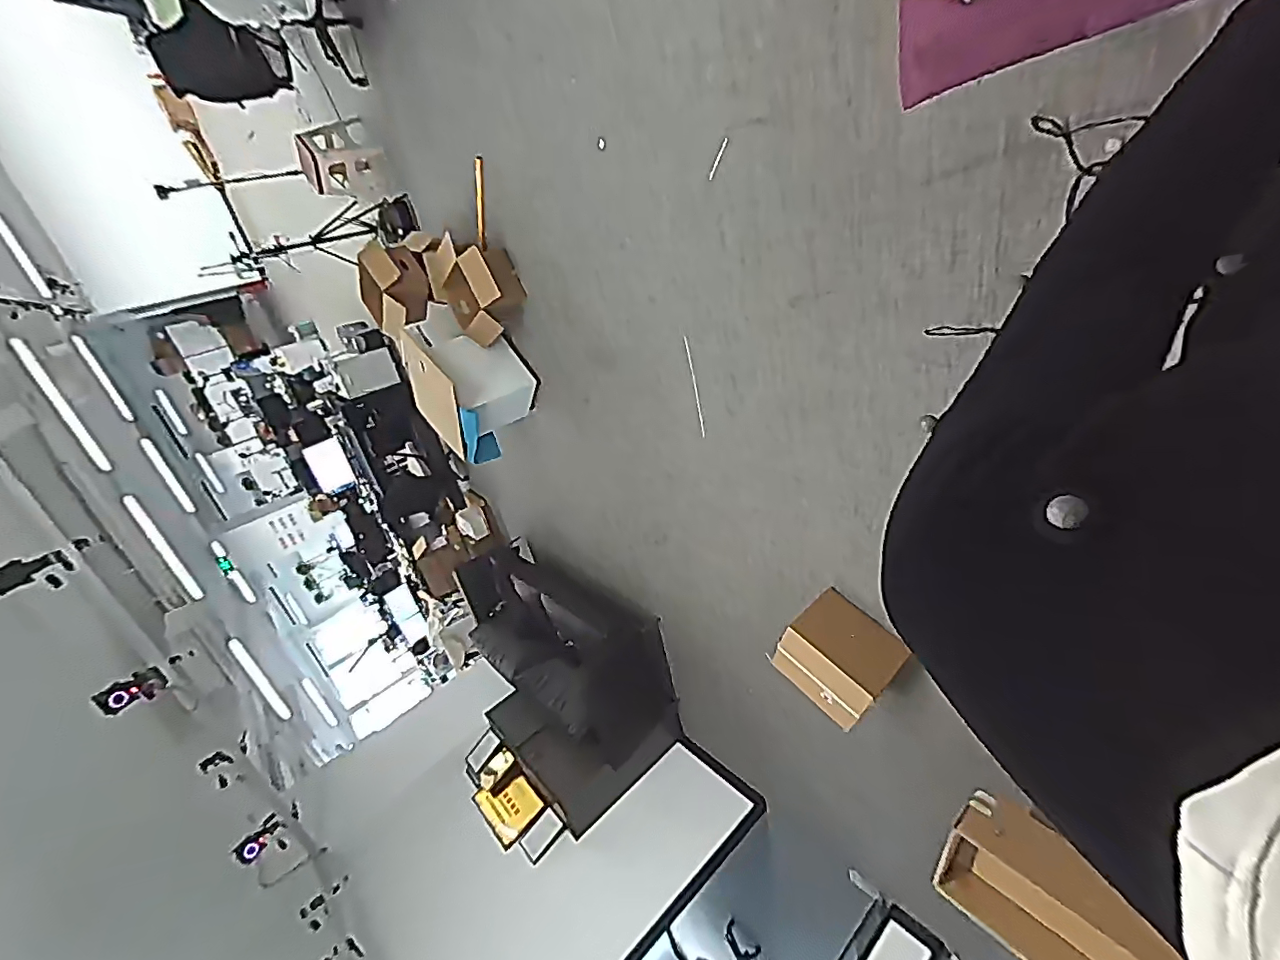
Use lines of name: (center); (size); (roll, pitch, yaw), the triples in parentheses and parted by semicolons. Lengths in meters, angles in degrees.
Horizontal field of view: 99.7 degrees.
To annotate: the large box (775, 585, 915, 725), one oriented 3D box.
large box: (0.852, 0.728, 2.284); (0.408, 0.320, 0.320); (38, 144, 30)
